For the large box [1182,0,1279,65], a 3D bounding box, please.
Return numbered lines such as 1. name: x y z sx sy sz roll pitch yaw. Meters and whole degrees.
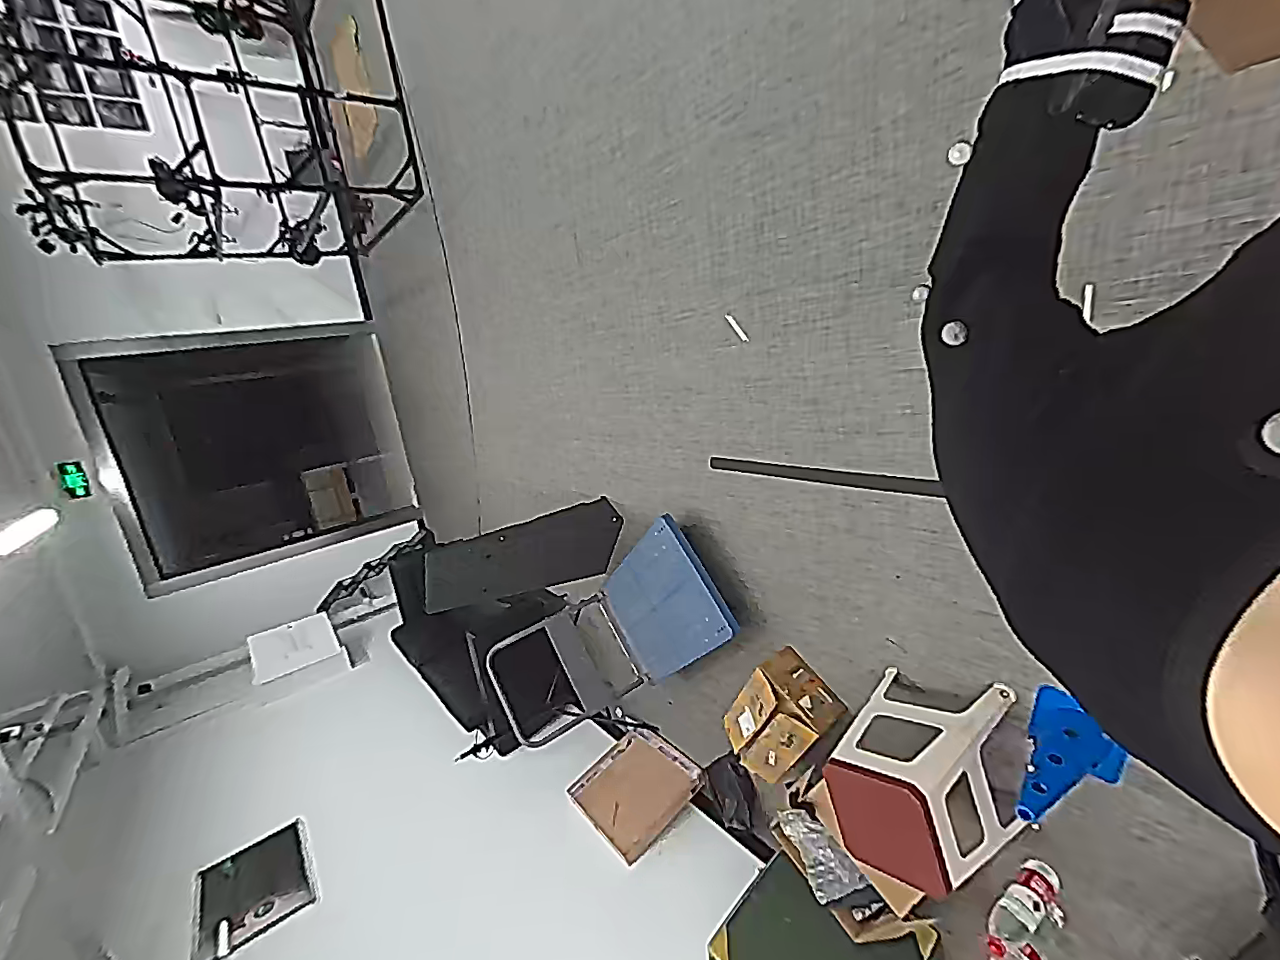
1. large box: 0.538 -0.479 0.238 0.408 0.320 0.320 10 113 51
